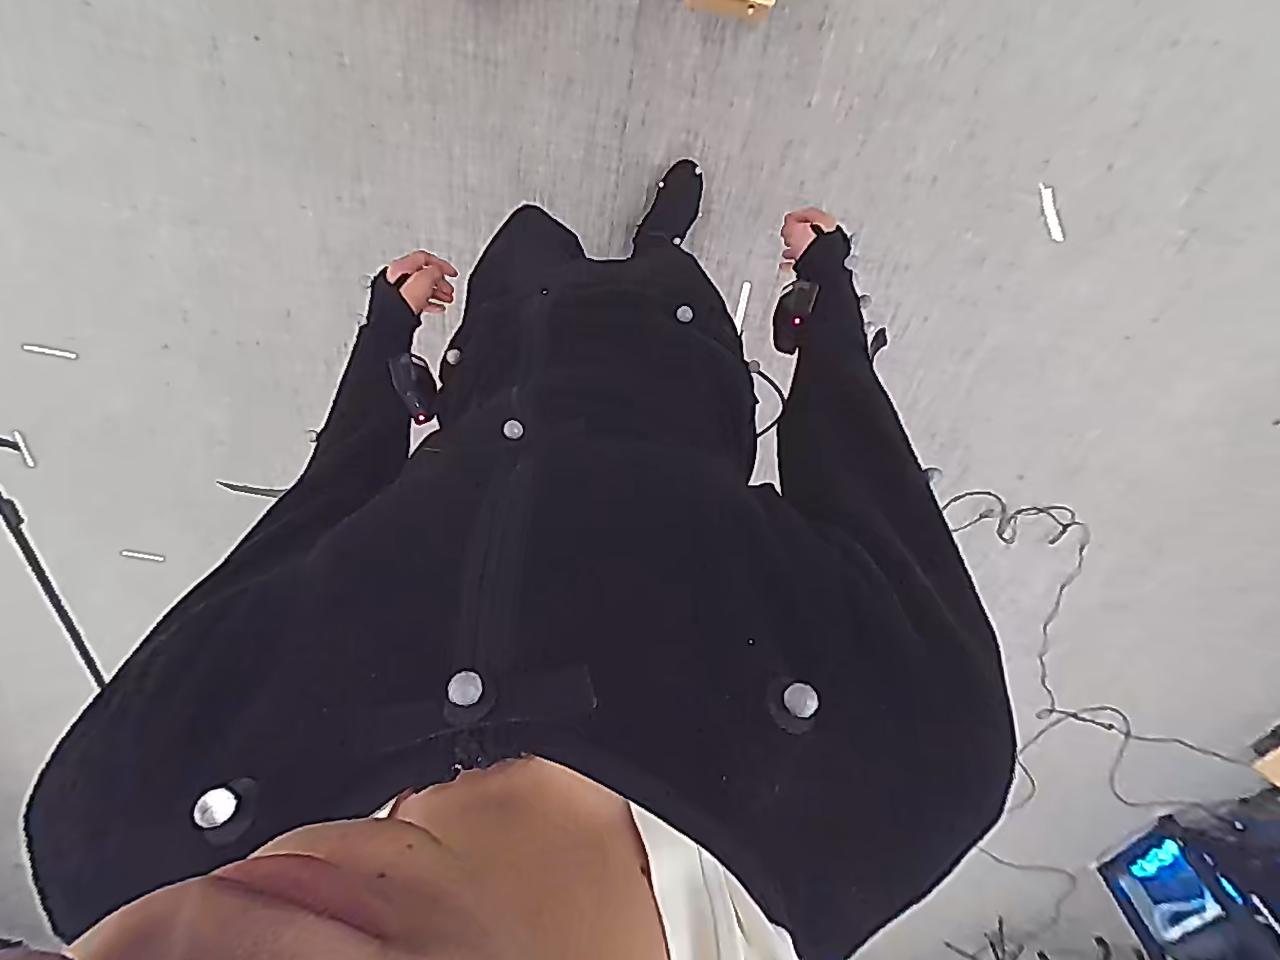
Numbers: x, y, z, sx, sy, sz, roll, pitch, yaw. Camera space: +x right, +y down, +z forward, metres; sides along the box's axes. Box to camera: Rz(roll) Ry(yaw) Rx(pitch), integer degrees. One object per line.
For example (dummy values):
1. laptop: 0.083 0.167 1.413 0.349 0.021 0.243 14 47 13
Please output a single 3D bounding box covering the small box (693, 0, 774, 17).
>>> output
1. small box: 0.195 -1.036 1.050 0.179 0.176 0.168 10 121 -5
